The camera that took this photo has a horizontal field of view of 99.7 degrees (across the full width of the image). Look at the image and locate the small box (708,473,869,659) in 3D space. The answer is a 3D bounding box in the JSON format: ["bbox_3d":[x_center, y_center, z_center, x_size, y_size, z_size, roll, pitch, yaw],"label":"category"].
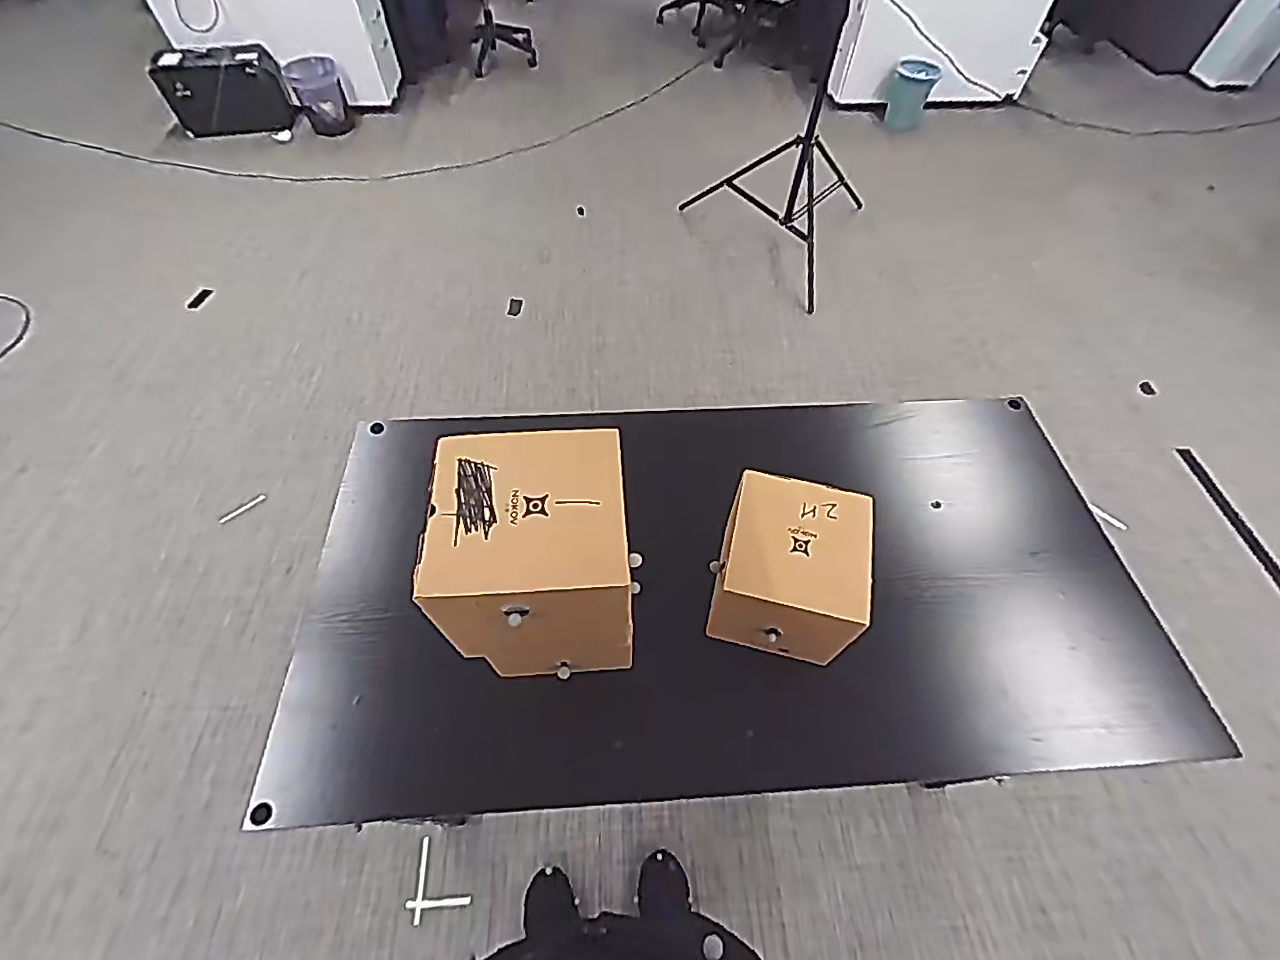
[{"bbox_3d":[0.192,0.121,0.727,0.168,0.176,0.179,13,56,7],"label":"small box"}]

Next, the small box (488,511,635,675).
[{"bbox_3d":[-0.101,0.147,0.705,0.179,0.176,0.168,-3,56,-4],"label":"small box"}]

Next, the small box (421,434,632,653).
[{"bbox_3d":[-0.100,0.071,0.557,0.179,0.176,0.168,-3,57,-4],"label":"small box"}]
